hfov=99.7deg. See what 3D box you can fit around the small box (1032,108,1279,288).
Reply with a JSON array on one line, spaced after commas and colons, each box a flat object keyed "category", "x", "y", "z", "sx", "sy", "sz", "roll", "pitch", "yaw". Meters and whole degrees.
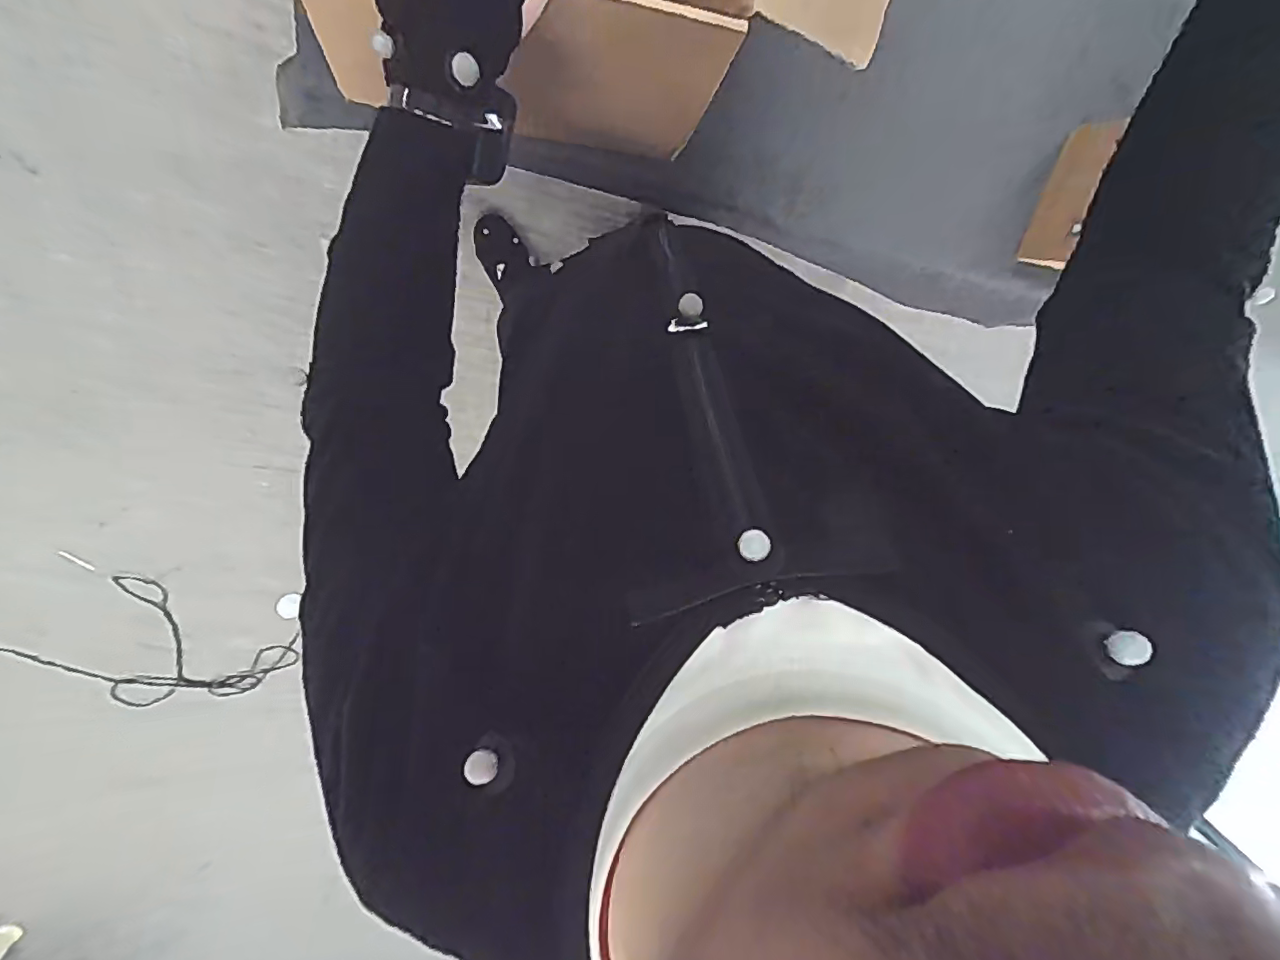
[{"category": "small box", "x": 0.691, "y": -0.375, "z": 0.739, "sx": 0.168, "sy": 0.176, "sz": 0.179, "roll": 4, "pitch": 115, "yaw": -14}]
